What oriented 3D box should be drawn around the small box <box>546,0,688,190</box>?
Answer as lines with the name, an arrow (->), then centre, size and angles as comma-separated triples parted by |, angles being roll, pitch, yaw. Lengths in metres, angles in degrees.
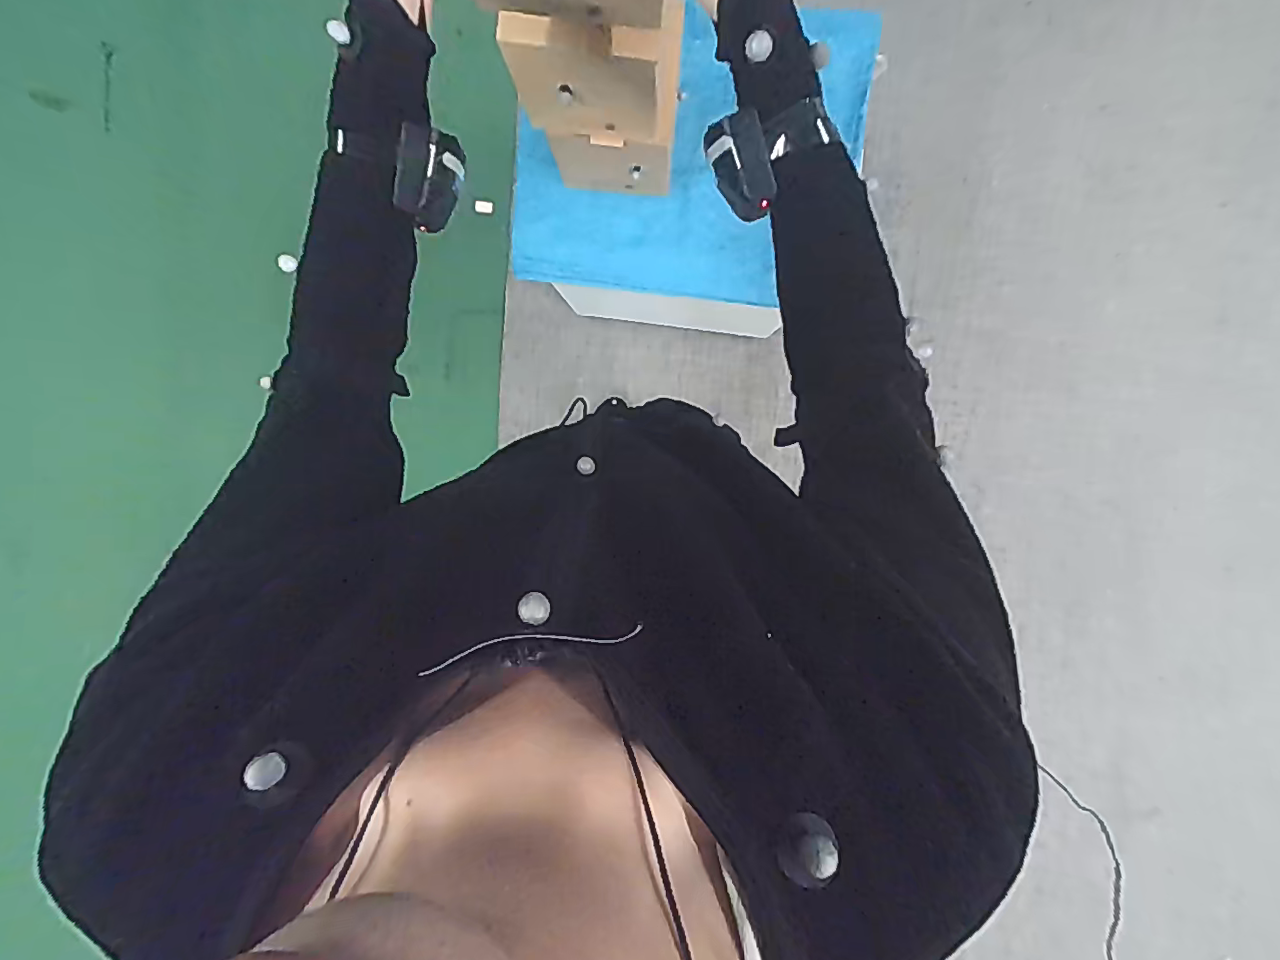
small box -> -0.028, -0.536, 0.761 | 0.168, 0.176, 0.179 | 7, 96, 1

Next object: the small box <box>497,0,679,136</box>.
small box -> -0.046, -0.520, 0.601 | 0.168, 0.176, 0.179 | 8, 95, 1
